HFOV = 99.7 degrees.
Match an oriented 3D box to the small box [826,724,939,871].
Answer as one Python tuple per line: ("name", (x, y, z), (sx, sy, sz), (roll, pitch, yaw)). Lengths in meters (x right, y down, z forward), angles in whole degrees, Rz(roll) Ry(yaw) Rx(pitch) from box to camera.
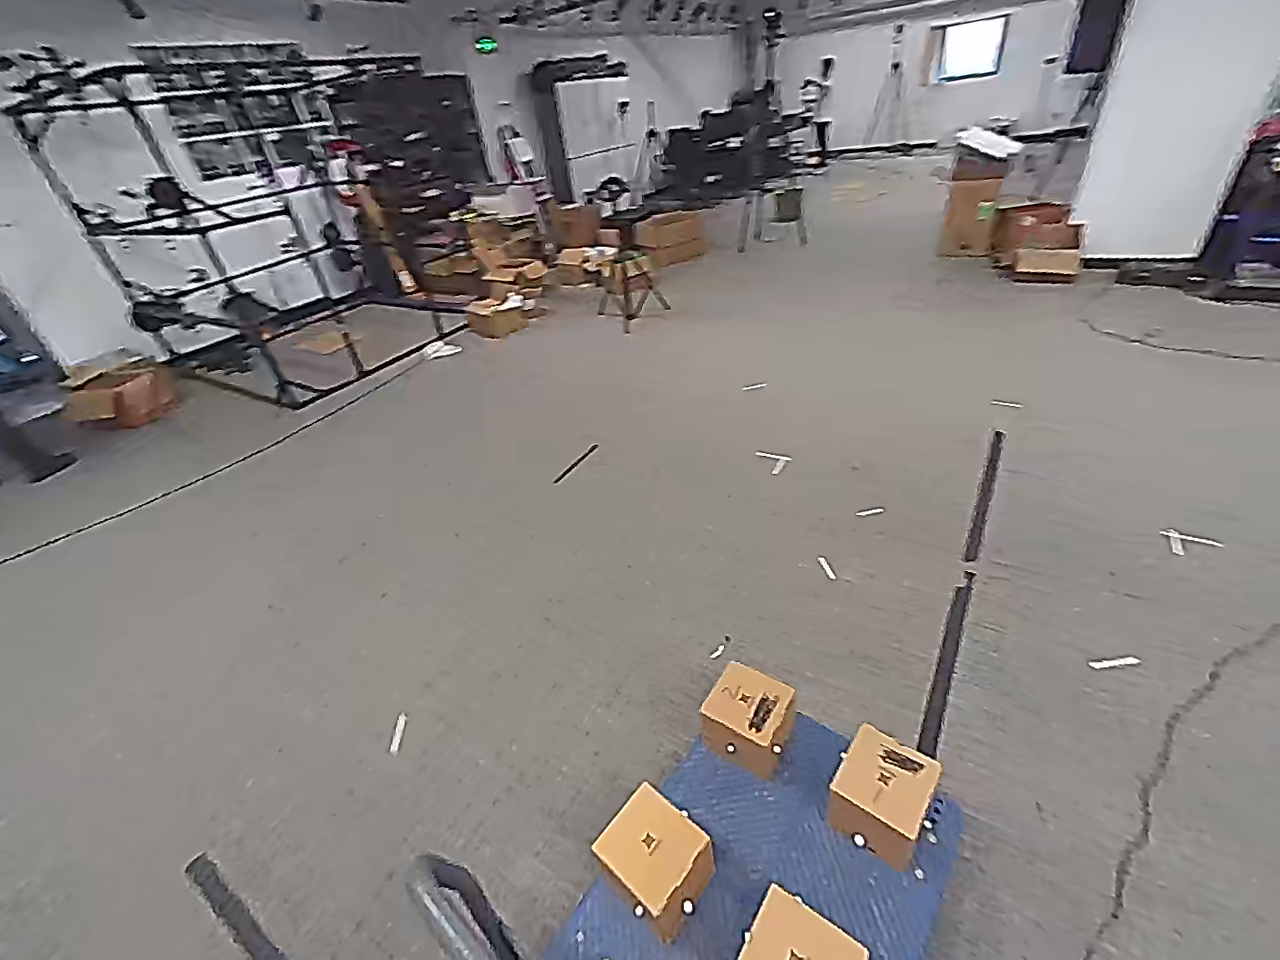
("small box", (0.507, 0.671, 1.147), (0.168, 0.176, 0.179), (20, 45, 36))

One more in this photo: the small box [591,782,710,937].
("small box", (0.027, 0.776, 1.106), (0.179, 0.176, 0.168), (22, 45, 36))

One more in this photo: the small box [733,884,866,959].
("small box", (0.266, 0.860, 0.929), (0.179, 0.176, 0.168), (18, 42, 33))
